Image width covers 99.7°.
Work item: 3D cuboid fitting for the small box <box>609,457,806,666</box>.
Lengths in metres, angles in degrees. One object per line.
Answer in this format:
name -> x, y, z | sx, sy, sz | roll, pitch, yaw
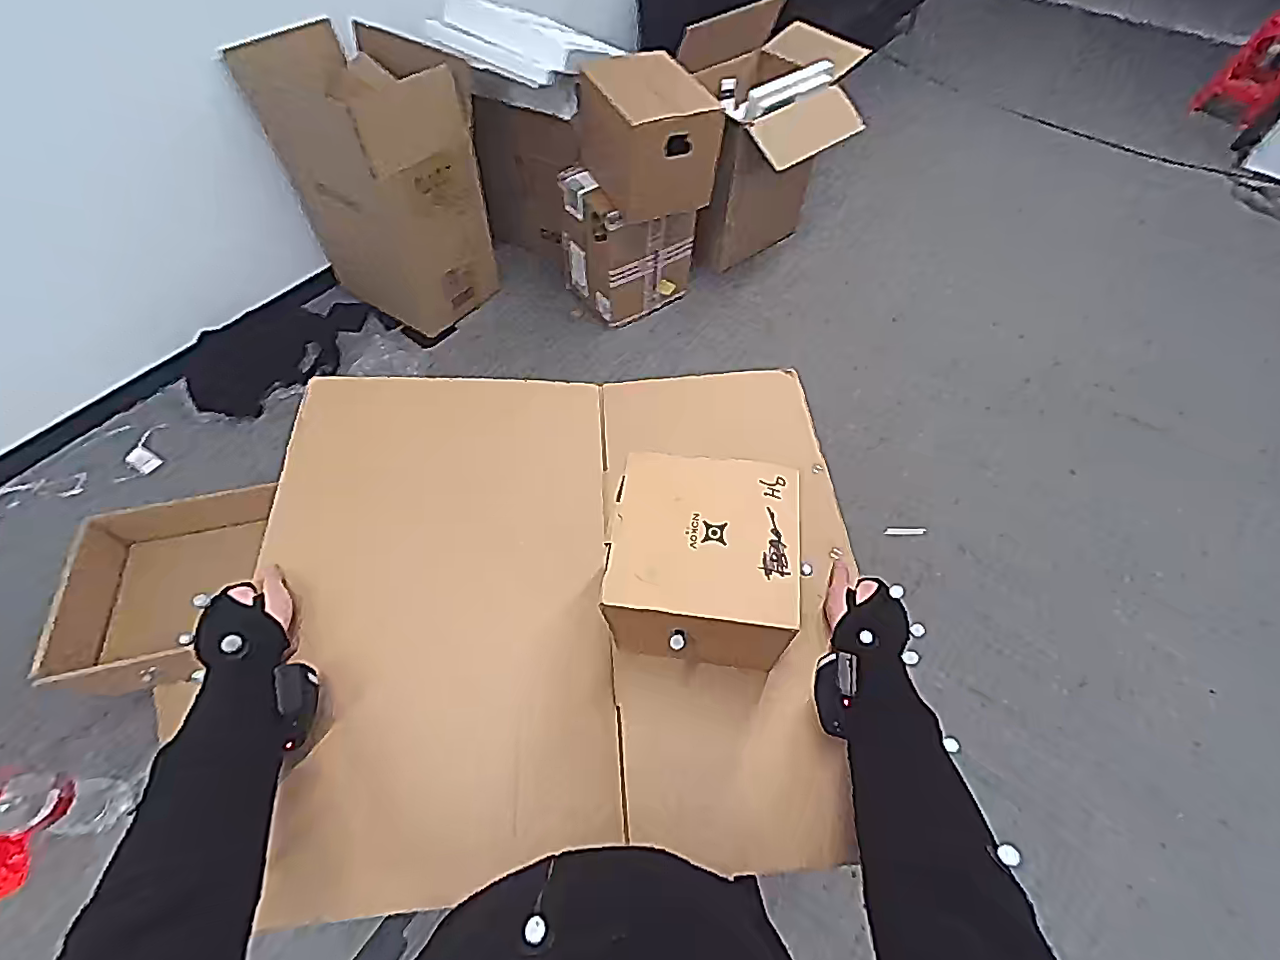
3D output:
small box -> 0.075, 0.093, 0.583 | 0.179, 0.176, 0.168 | 5, 60, 8
